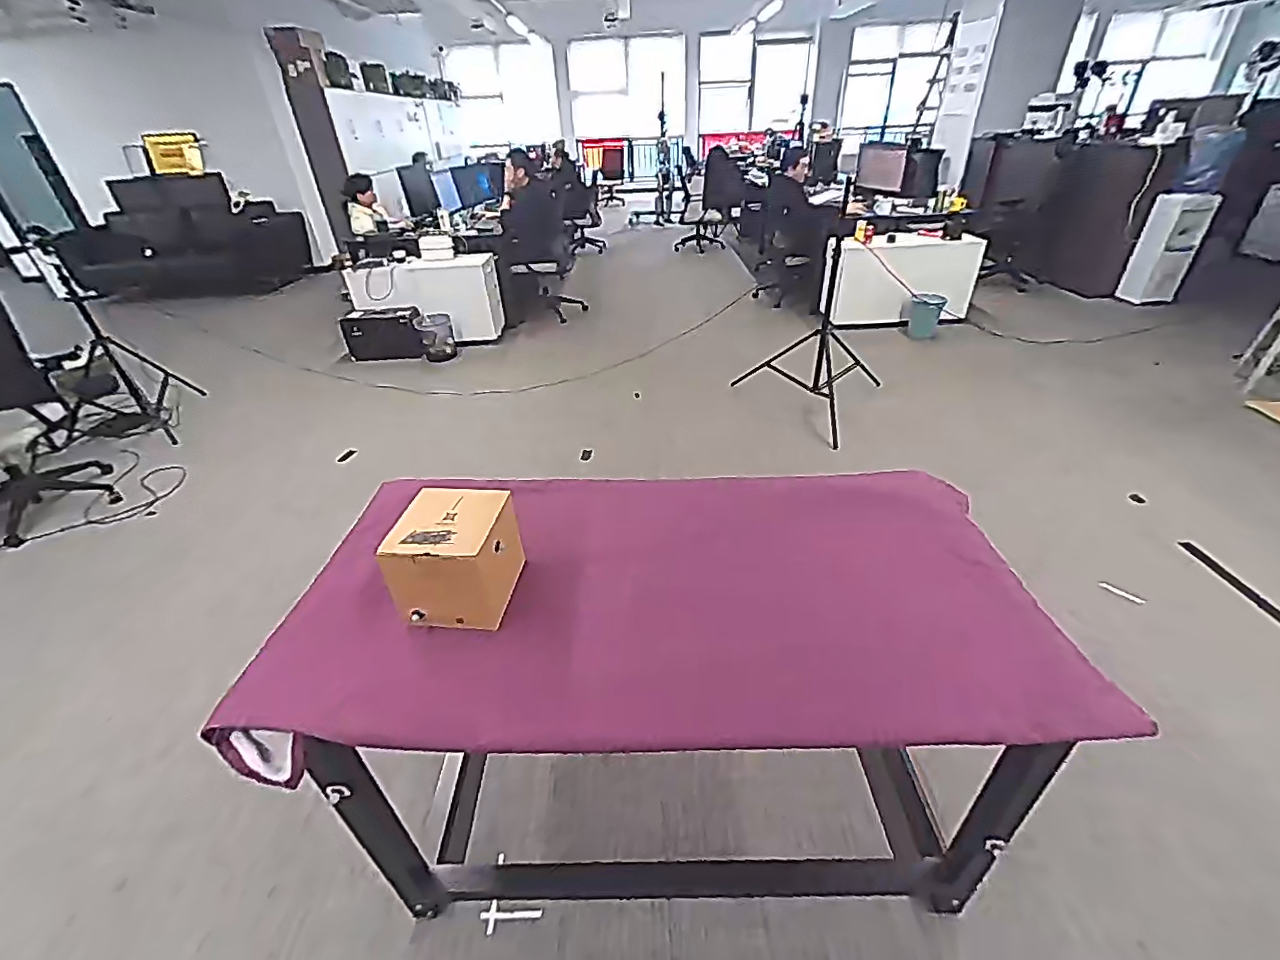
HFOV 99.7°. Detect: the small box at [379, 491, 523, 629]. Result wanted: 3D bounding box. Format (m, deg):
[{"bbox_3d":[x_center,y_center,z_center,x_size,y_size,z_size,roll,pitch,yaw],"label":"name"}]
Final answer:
[{"bbox_3d":[-0.312,0.138,0.939,0.168,0.176,0.179,2,34,6],"label":"small box"}]
